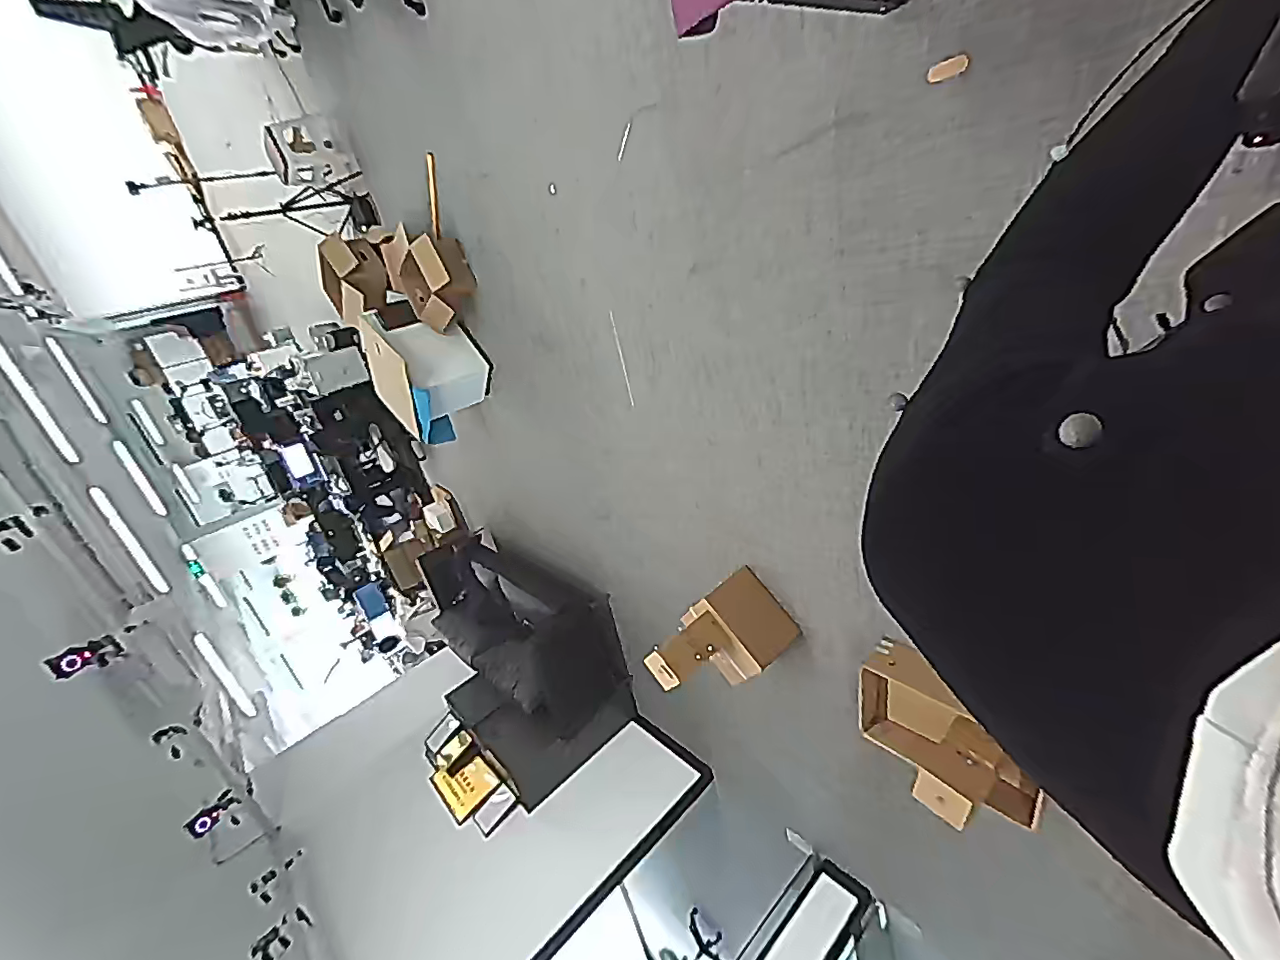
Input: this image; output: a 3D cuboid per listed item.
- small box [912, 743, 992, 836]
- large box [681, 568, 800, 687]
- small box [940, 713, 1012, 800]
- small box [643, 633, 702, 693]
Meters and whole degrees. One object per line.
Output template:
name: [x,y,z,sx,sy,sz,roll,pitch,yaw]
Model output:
small box: [1.048,1.033,1.816,0.168,0.176,0.179,28,134,43]
large box: [0.478,0.704,2.602,0.408,0.320,0.320,50,146,15]
small box: [1.172,0.965,1.897,0.168,0.176,0.179,25,132,46]
small box: [0.145,0.798,2.367,0.168,0.176,0.179,51,146,14]
